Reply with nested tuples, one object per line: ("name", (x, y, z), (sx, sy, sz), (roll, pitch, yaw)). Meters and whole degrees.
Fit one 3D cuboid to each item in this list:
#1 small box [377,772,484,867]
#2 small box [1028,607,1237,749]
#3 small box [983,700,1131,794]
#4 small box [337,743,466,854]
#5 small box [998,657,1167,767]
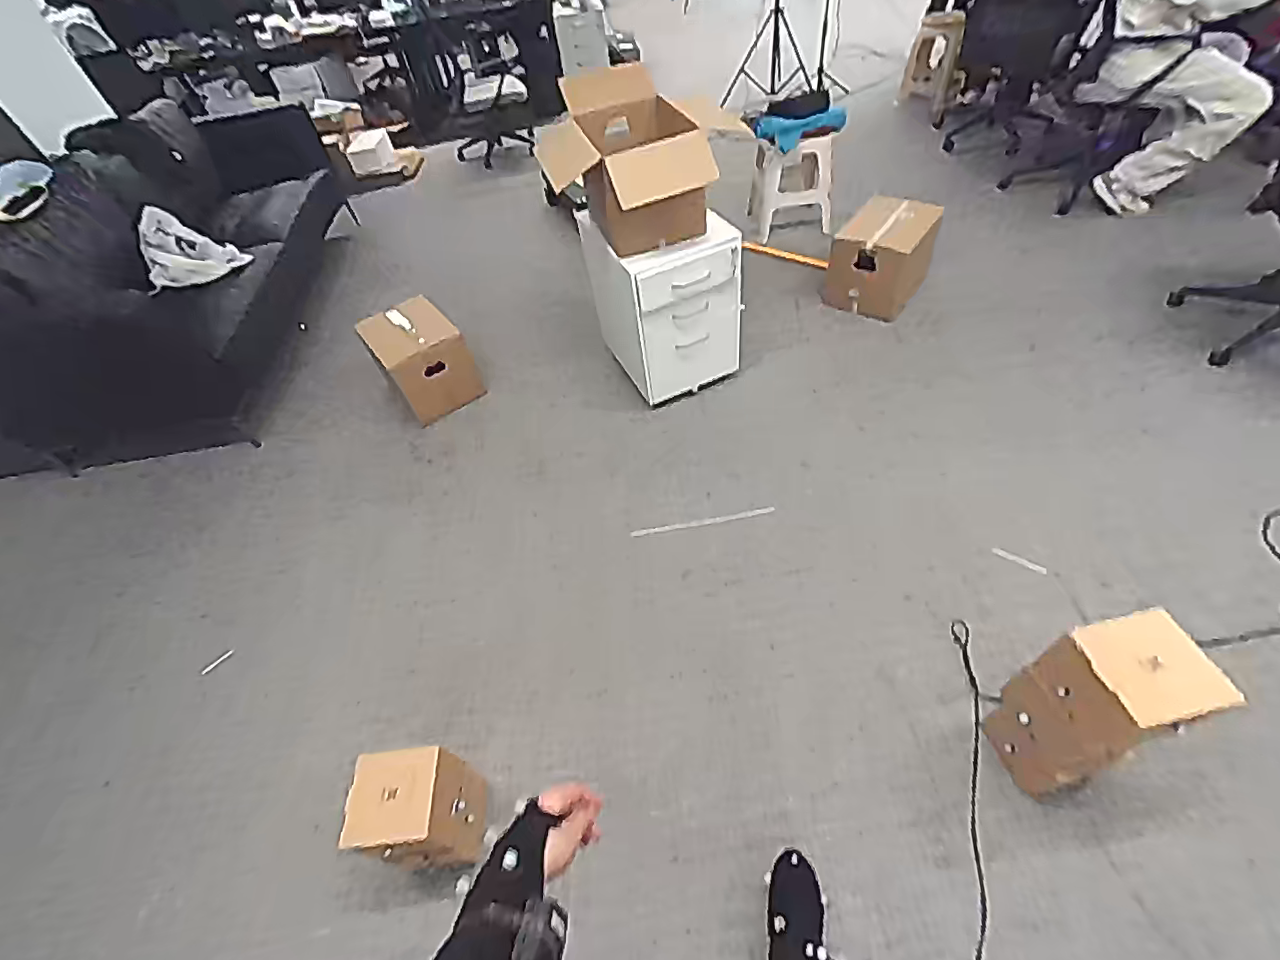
("small box", (-0.473, 0.779, 1.248), (0.168, 0.176, 0.179), (-9, 50, 2))
("small box", (0.839, 0.349, 0.947), (0.179, 0.176, 0.168), (-14, 49, -1))
("small box", (0.892, 0.565, 1.186), (0.179, 0.176, 0.168), (-15, 50, -4))
("small box", (-0.485, 0.668, 1.128), (0.179, 0.176, 0.168), (-8, 51, 2))
("small box", (0.864, 0.448, 1.074), (0.179, 0.176, 0.168), (-13, 49, 0))
